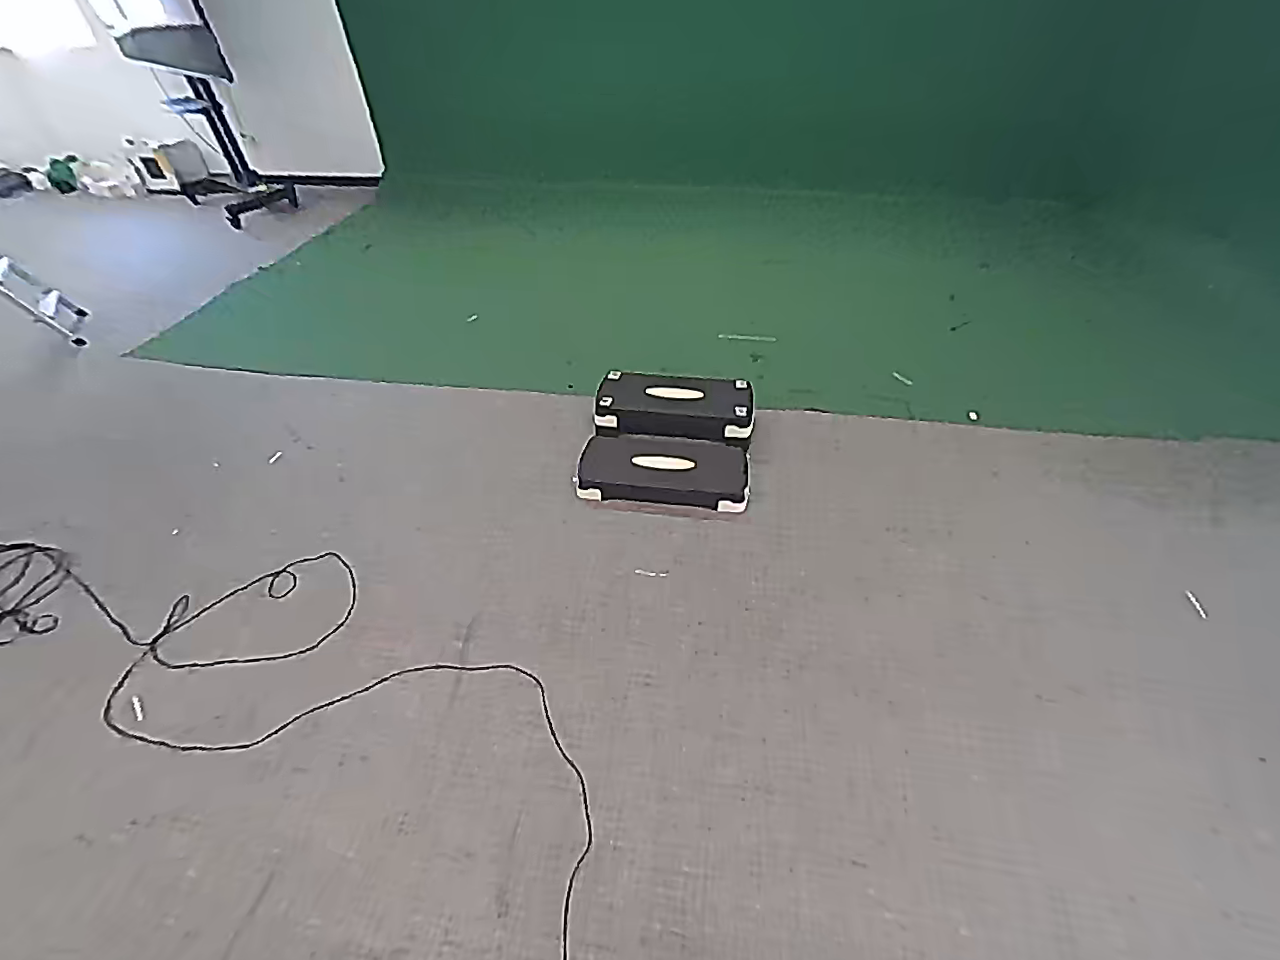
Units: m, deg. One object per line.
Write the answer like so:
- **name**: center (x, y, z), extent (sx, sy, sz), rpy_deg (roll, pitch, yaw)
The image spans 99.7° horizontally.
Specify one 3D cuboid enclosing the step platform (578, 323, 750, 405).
- **step platform**: center (0.098, -0.481, 2.236), extent (0.684, 0.204, 0.286), rpy_deg (5, 45, 7)
